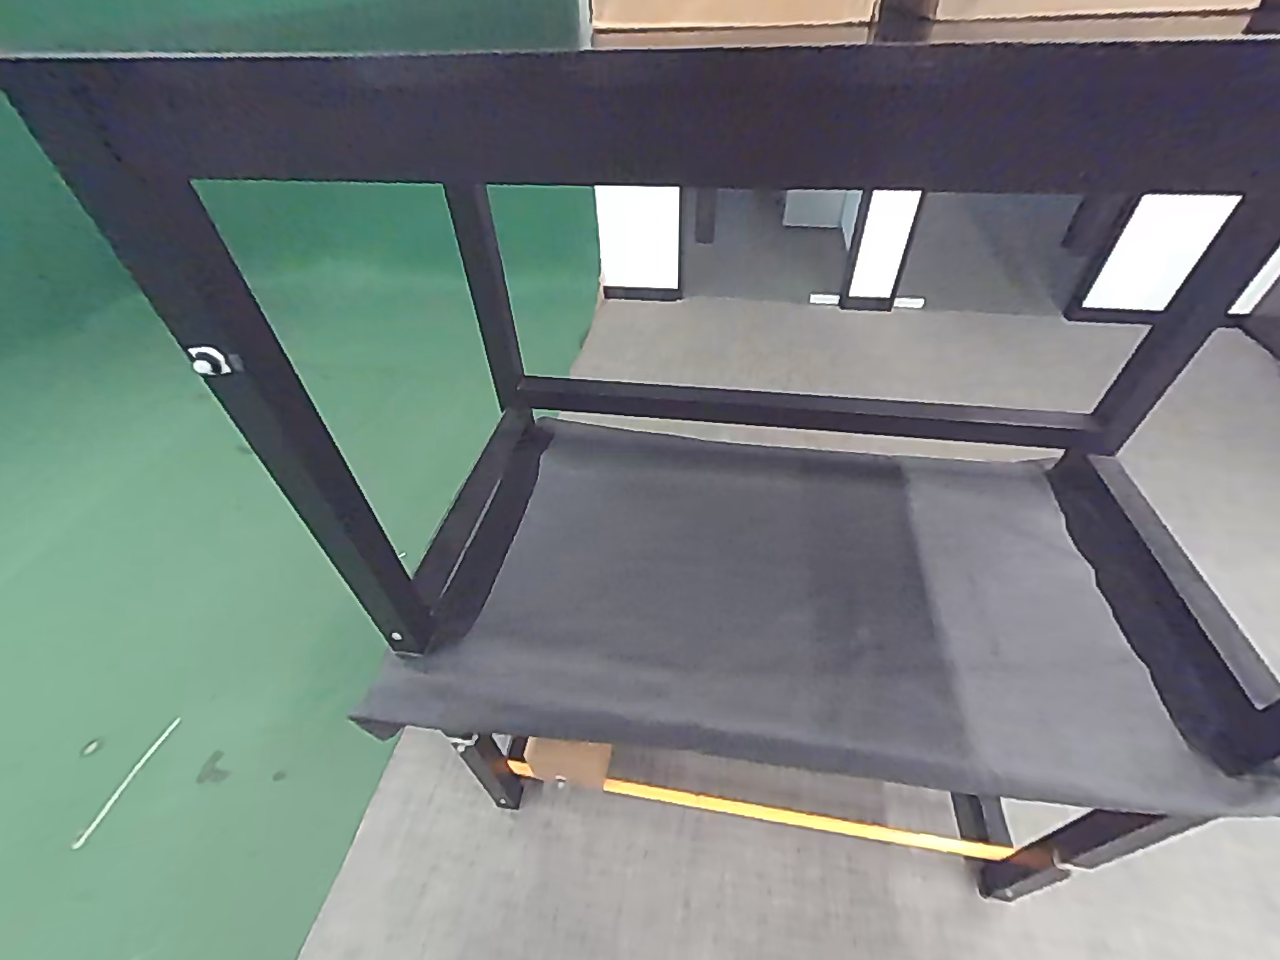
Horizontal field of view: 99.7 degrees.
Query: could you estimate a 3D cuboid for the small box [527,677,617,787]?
[{"bbox_3d":[-0.150,0.595,1.274,0.168,0.176,0.179,5,46,8],"label":"small box"}]
